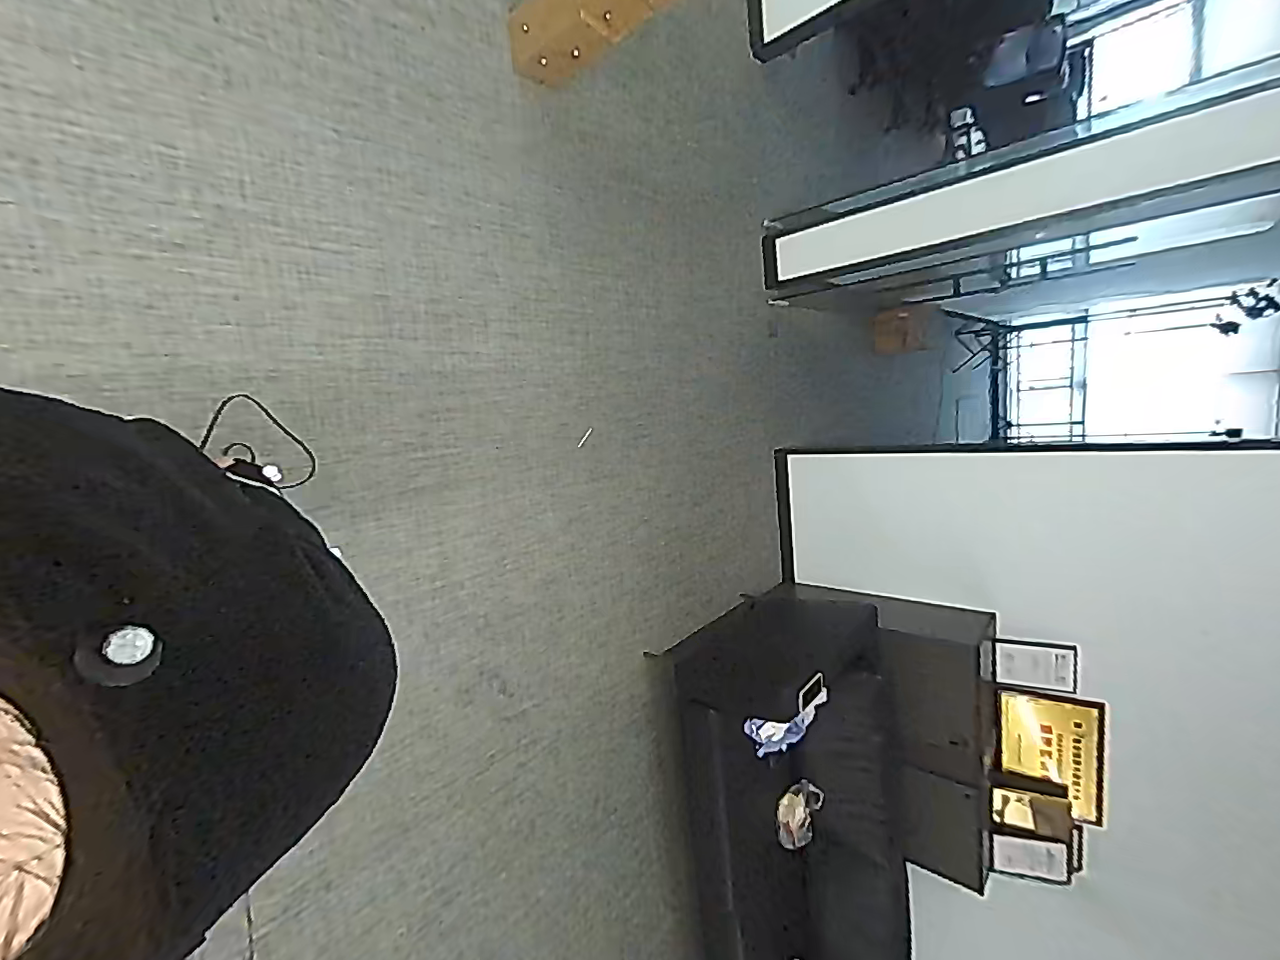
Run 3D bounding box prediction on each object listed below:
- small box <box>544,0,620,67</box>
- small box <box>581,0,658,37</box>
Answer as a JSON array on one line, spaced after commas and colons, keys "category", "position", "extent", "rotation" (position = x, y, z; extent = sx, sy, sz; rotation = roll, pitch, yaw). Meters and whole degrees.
[{"category": "small box", "position": [-0.182, -1.445, 1.676], "extent": [0.168, 0.176, 0.179], "rotation": [-10, 98, -46]}, {"category": "small box", "position": [-0.063, -1.454, 1.565], "extent": [0.168, 0.176, 0.179], "rotation": [-5, 96, -47]}]
